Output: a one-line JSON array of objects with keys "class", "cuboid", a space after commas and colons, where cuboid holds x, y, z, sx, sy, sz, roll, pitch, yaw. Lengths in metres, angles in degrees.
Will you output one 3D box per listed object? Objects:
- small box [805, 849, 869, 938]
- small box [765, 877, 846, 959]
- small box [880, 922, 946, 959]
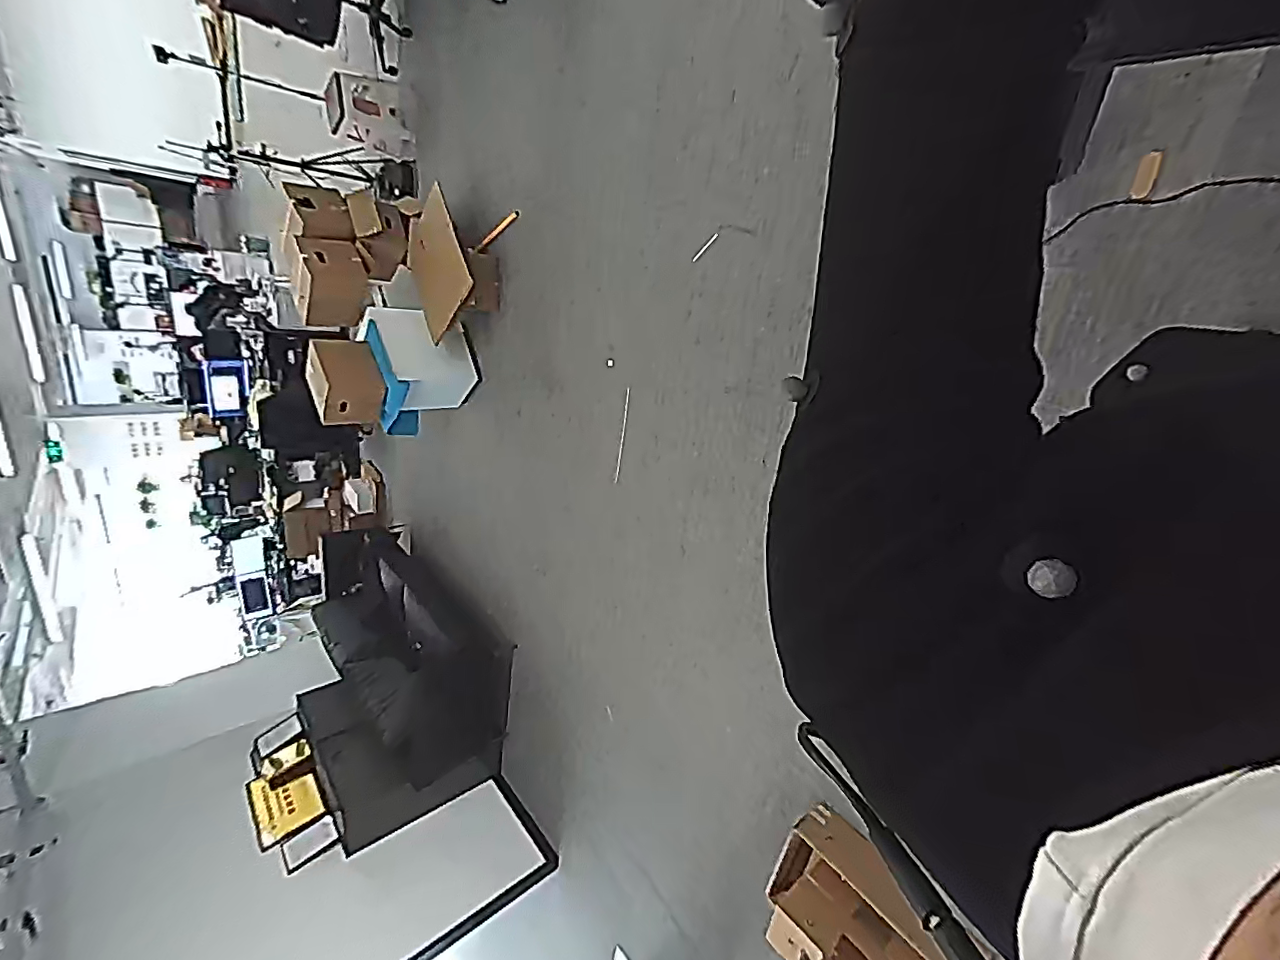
[{"class": "small box", "cuboid": [0.661, 1.433, 1.866, 0.168, 0.176, 0.179, 32, 121, 40]}, {"class": "small box", "cuboid": [0.540, 1.455, 1.756, 0.179, 0.176, 0.168, 28, 117, 42]}, {"class": "small box", "cuboid": [0.845, 1.543, 1.683, 0.168, 0.176, 0.179, 31, 120, 41]}]
